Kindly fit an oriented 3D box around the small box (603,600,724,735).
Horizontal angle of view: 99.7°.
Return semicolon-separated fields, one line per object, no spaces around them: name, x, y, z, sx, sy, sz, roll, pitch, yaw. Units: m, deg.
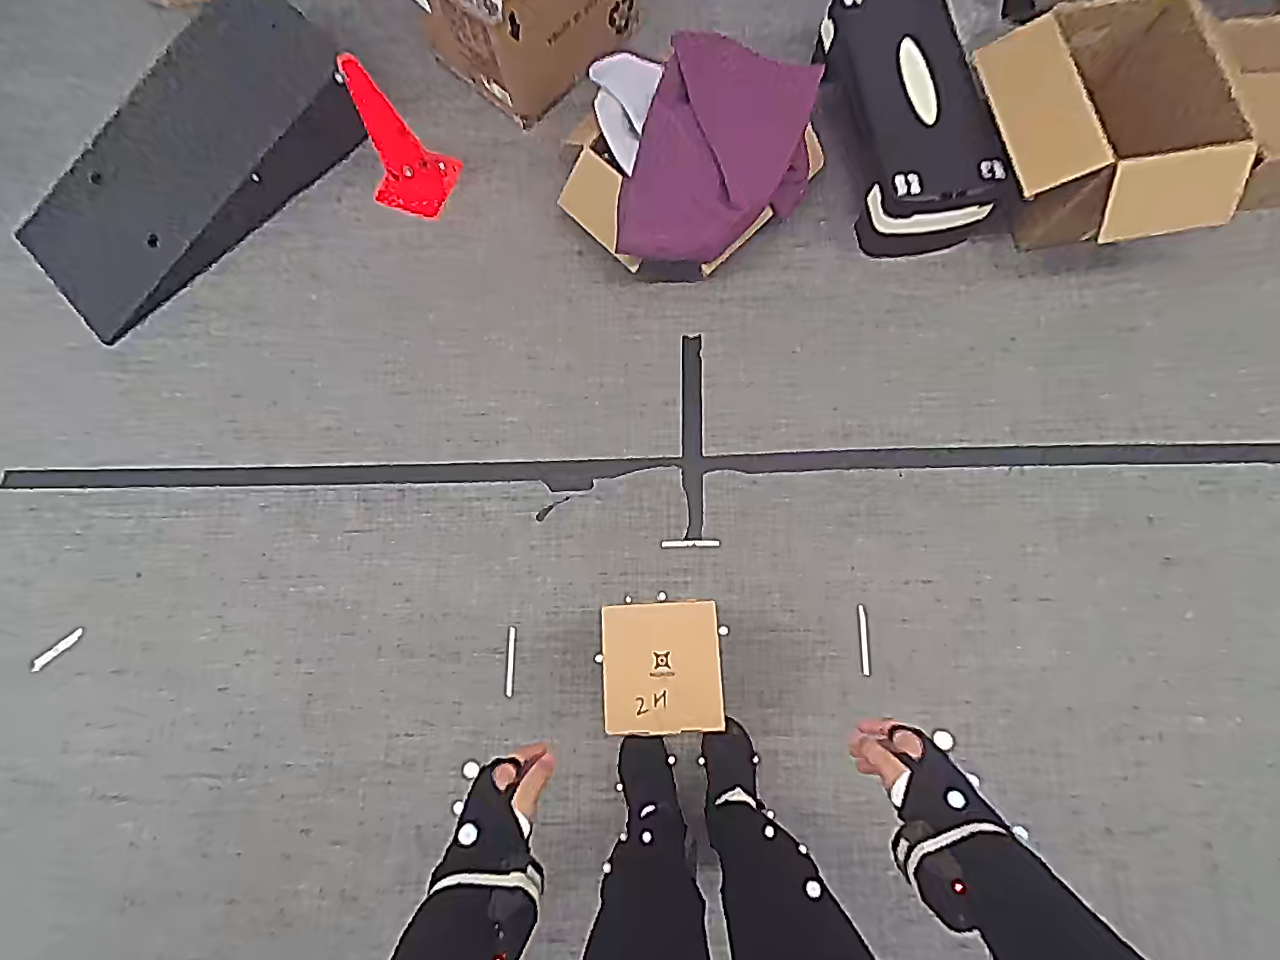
small box;0.034;0.276;0.828;0.168;0.176;0.179;-3;78;3
